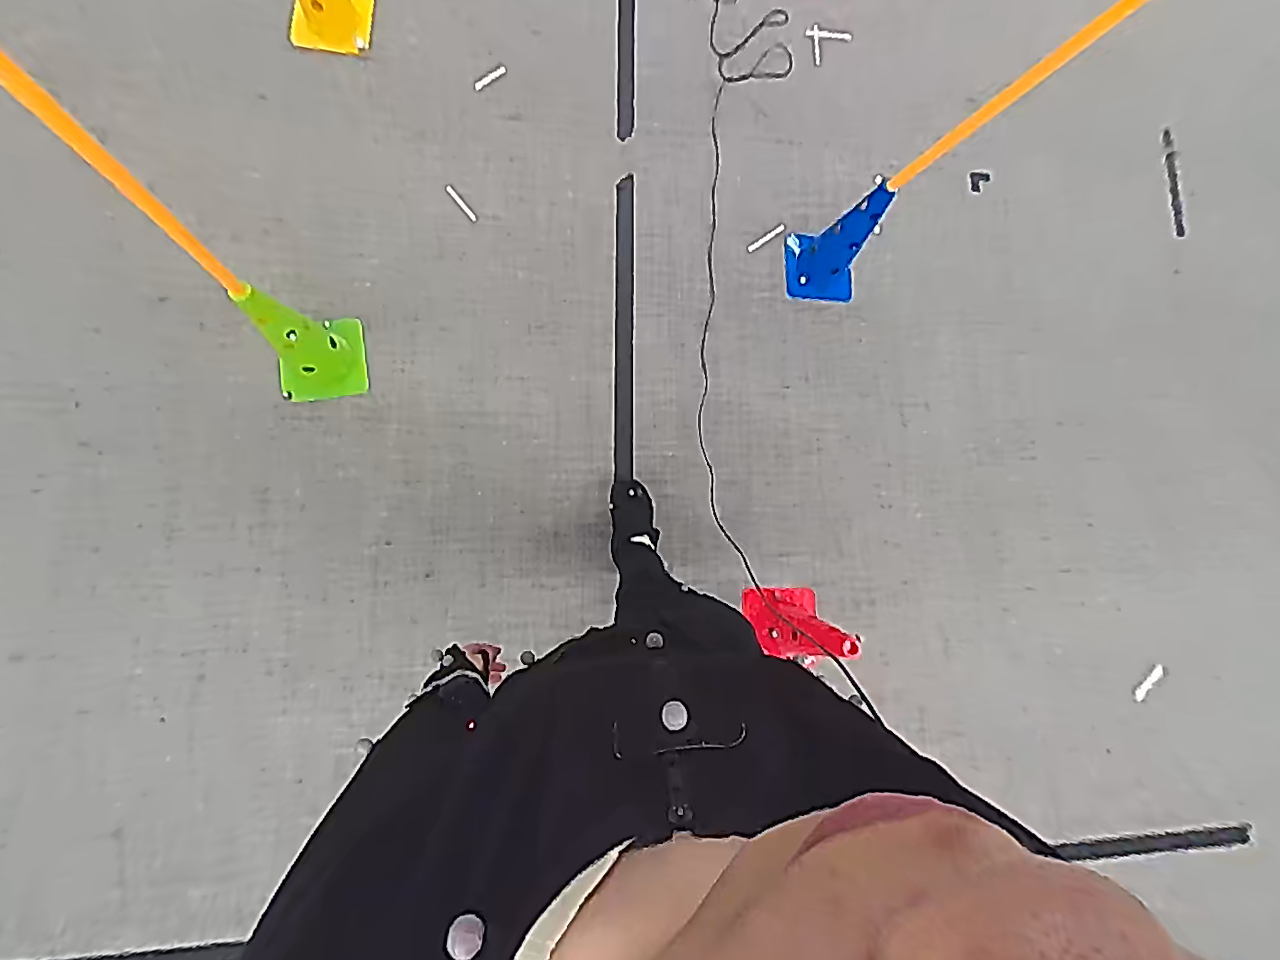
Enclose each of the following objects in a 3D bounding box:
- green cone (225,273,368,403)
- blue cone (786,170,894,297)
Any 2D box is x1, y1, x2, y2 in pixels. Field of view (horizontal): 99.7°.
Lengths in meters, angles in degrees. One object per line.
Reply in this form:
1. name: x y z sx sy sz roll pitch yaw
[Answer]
1. green cone: -0.763 -0.327 1.172 0.200 0.368 0.202 -10 81 -9
2. blue cone: 0.541 -0.651 1.412 0.193 0.380 0.192 3 80 -7
